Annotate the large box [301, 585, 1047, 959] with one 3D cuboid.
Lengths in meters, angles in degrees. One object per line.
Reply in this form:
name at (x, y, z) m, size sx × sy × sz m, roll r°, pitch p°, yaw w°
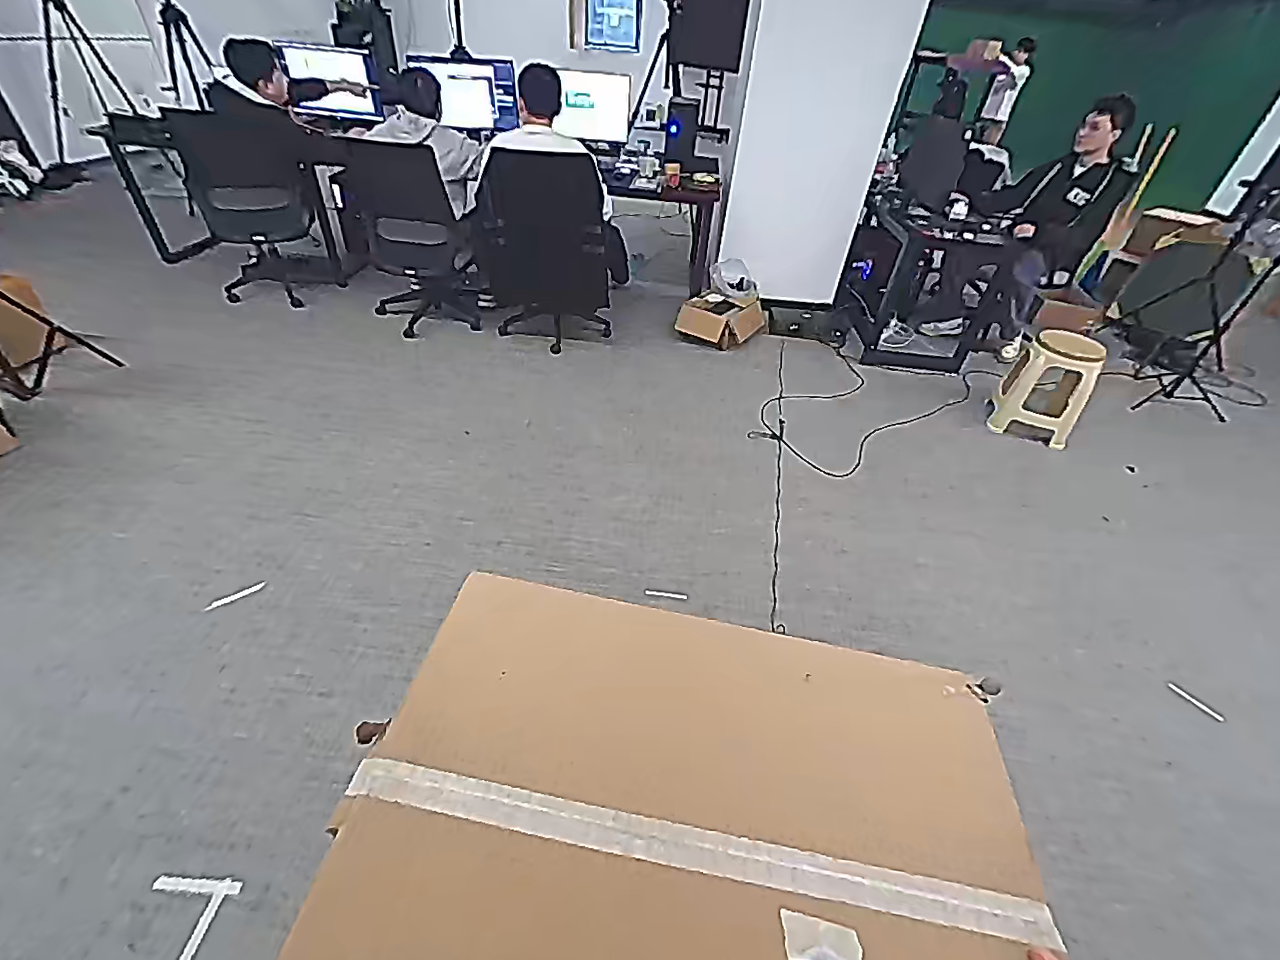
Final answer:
large box at (0.018, 0.330, 0.425) m, size 0.408 × 0.320 × 0.320 m, roll 12°, pitch 44°, yaw 2°
